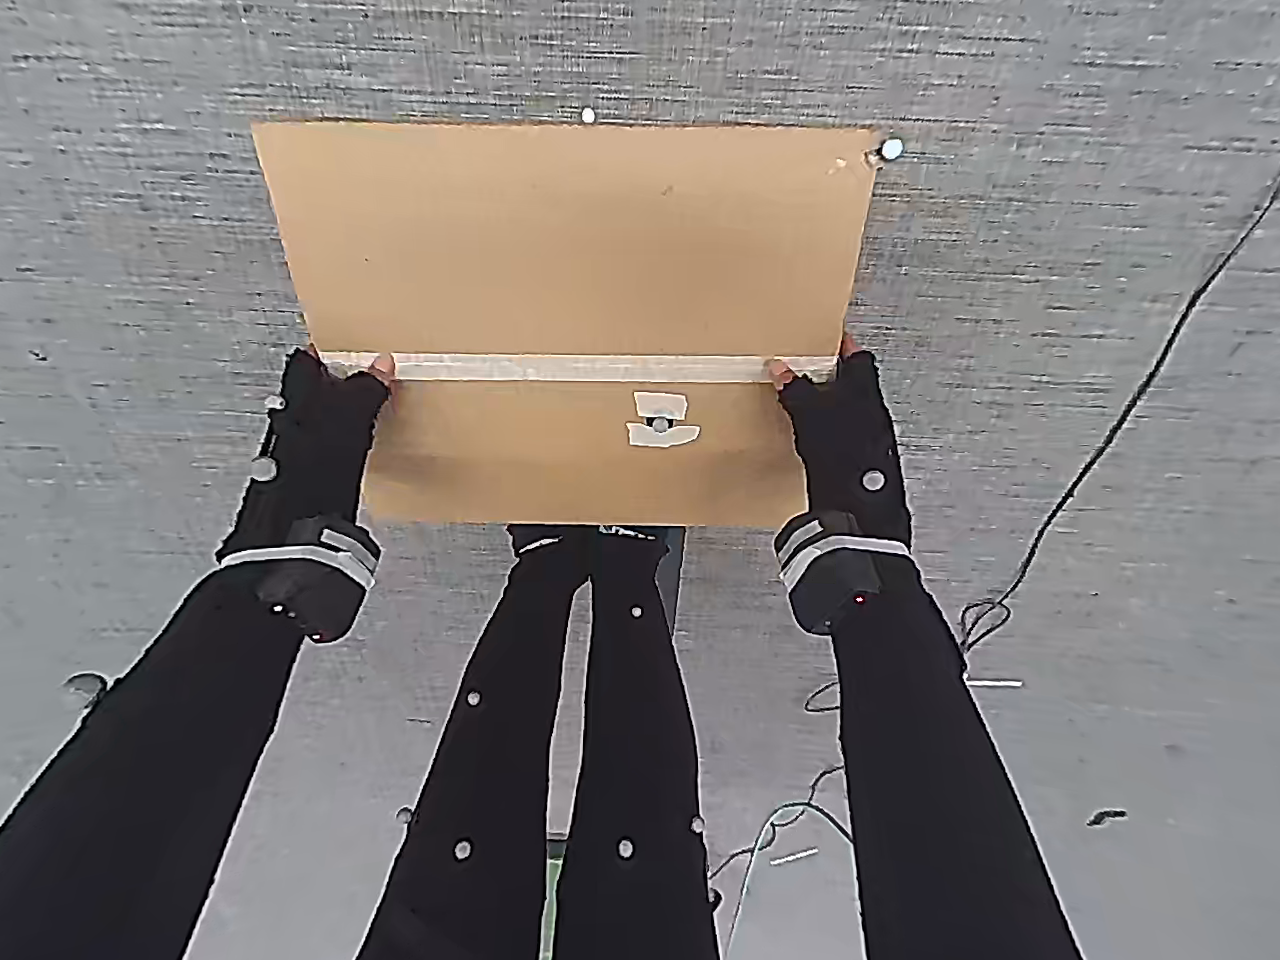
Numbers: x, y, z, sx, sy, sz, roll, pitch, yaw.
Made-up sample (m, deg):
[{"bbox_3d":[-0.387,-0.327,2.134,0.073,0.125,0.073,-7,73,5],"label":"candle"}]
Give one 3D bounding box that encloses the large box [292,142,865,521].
[{"bbox_3d":[-0.044,-0.168,0.572,0.408,0.320,0.320,1,122,0],"label":"large box"}]
